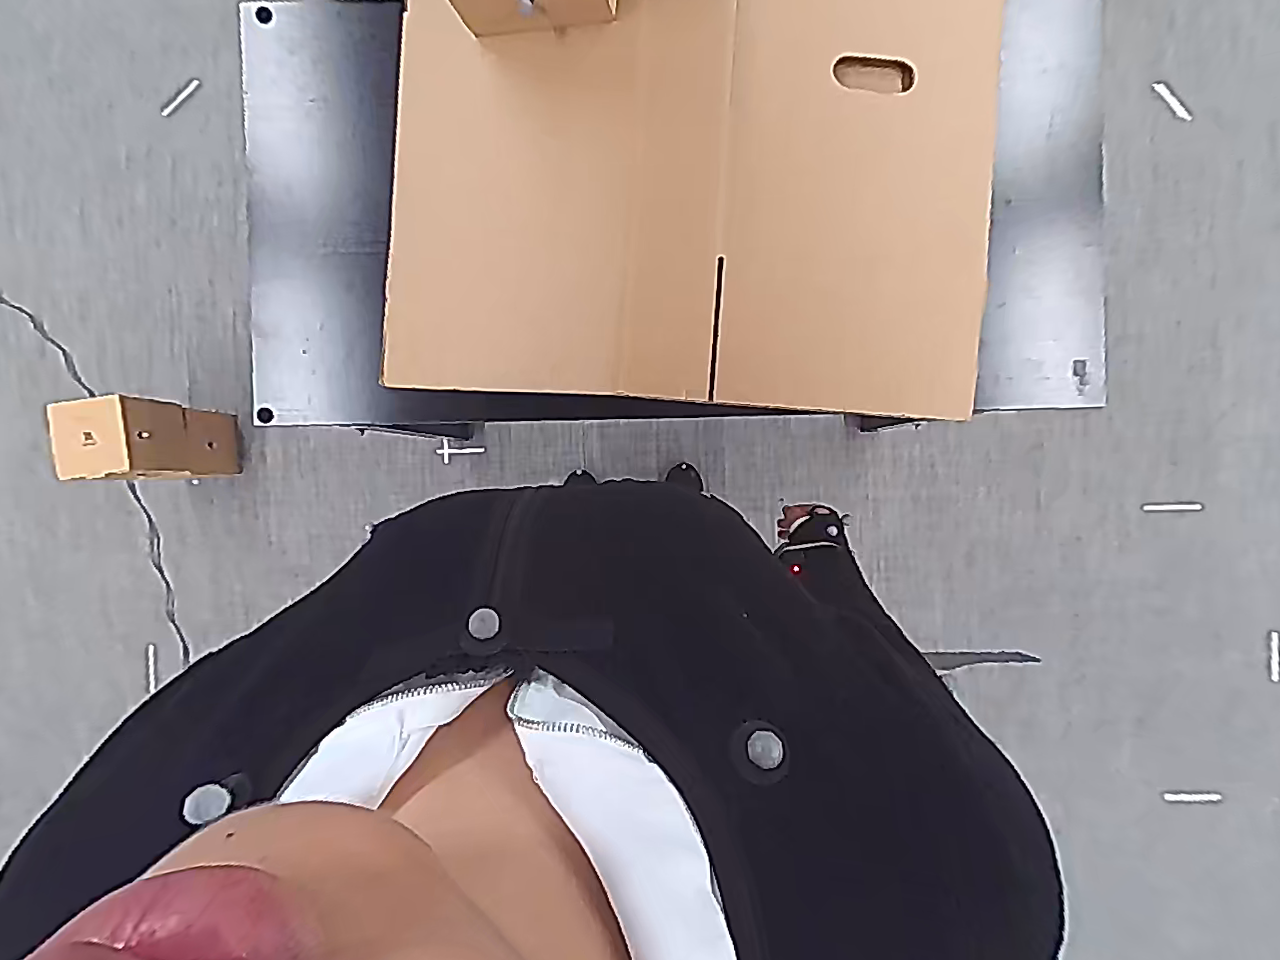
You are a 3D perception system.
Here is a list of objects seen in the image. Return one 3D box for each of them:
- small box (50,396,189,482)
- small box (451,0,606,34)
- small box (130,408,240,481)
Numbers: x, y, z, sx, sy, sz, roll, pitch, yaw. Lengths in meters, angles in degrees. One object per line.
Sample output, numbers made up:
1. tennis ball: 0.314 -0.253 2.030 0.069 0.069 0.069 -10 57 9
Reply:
1. small box: -1.218 -0.093 1.280 0.168 0.176 0.179 -8 90 1
2. small box: -0.122 -0.588 0.529 0.179 0.176 0.168 5 90 13
3. small box: -1.214 -0.089 1.443 0.168 0.176 0.179 -5 91 1
